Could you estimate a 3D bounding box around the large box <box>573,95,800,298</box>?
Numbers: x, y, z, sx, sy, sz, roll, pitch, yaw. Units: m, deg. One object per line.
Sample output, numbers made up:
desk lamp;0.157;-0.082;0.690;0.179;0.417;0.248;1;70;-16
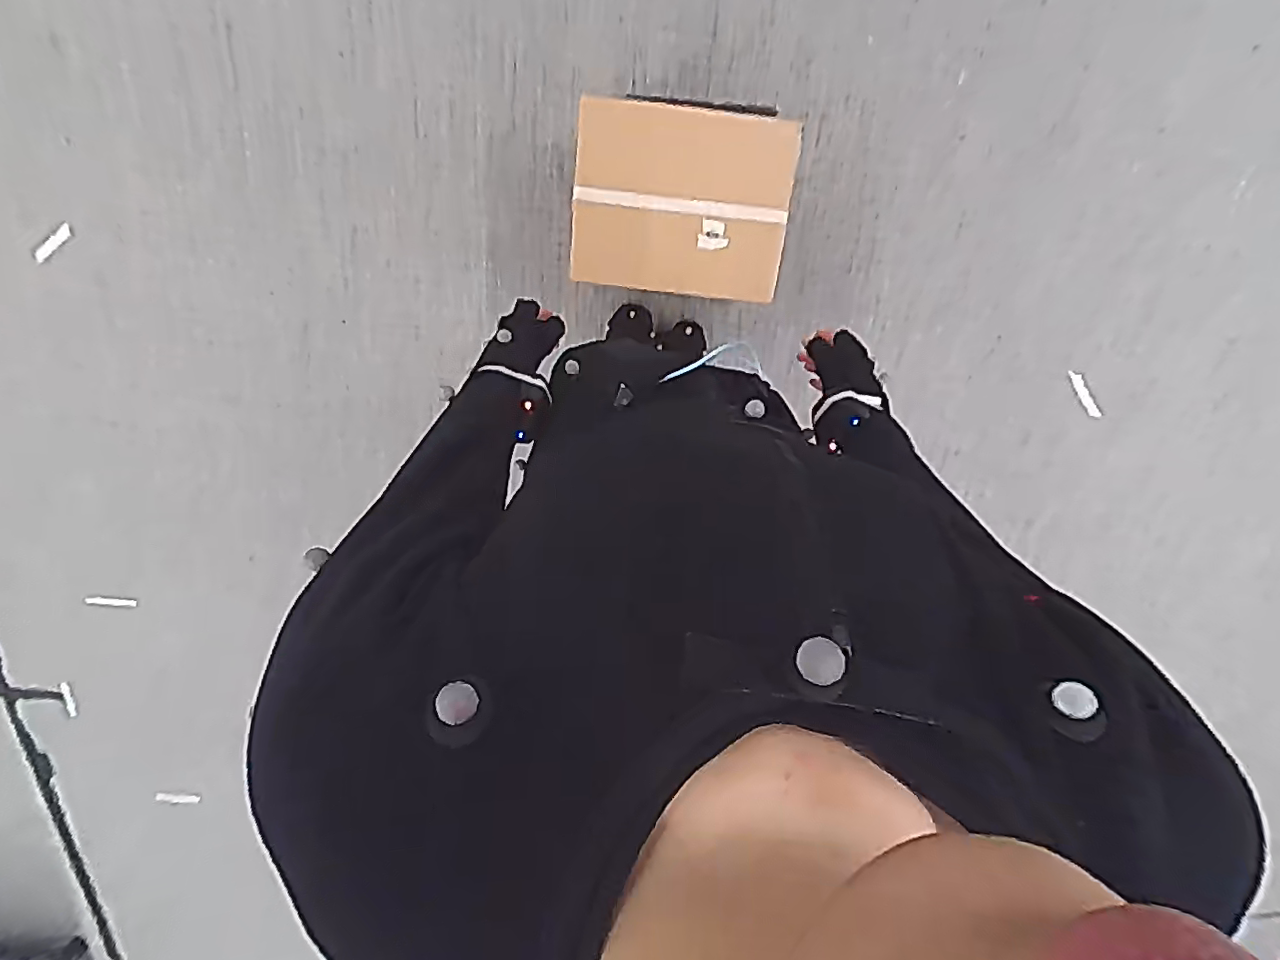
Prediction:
large box;0.076;-0.576;1.160;0.408;0.320;0.320;6;111;-3
